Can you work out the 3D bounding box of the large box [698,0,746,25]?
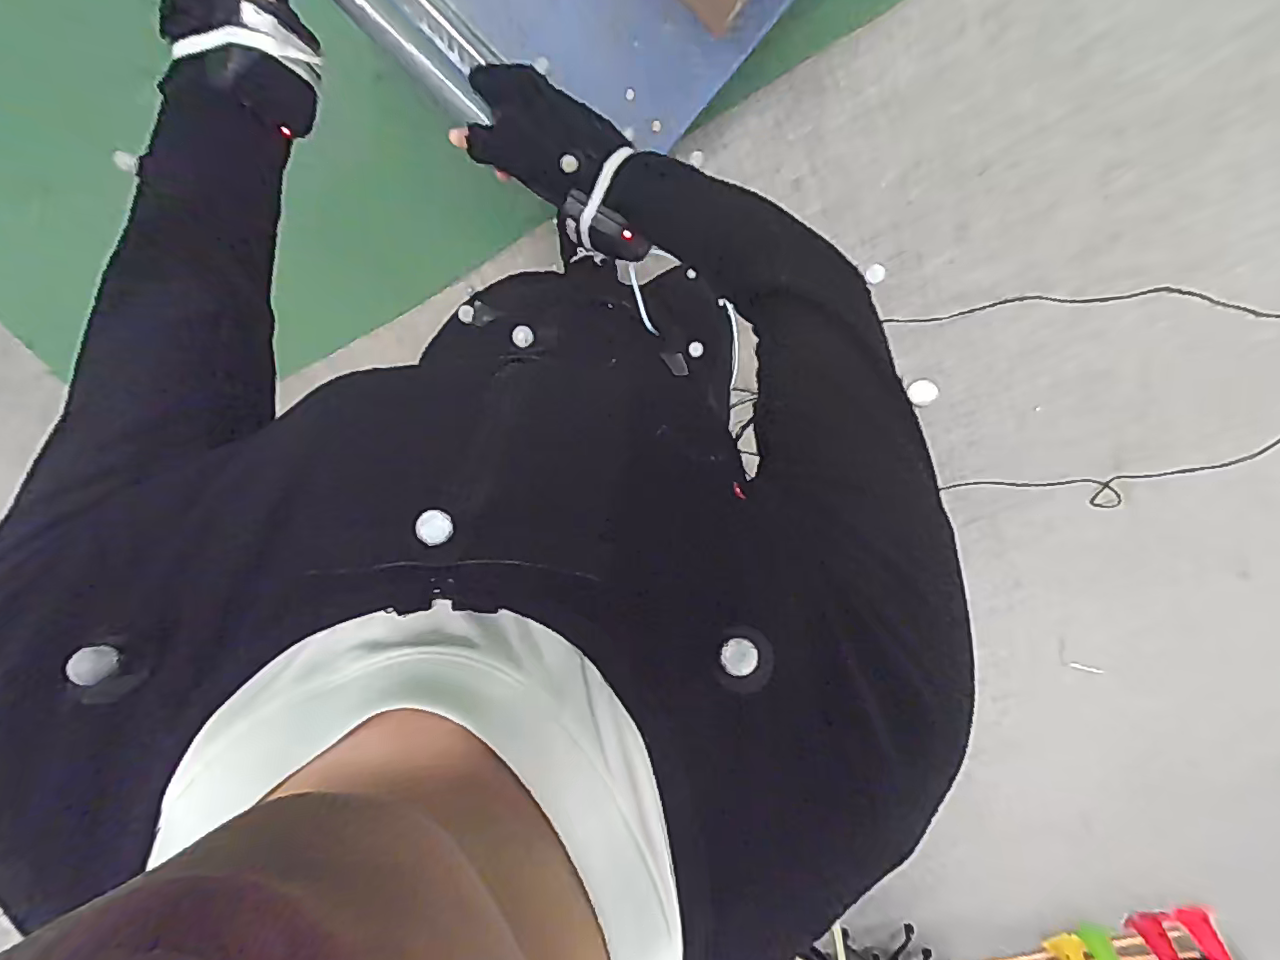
[{"bbox_3d":[0.089,-0.919,0.695,0.408,0.320,0.320,38,115,-19],"label":"large box"}]
